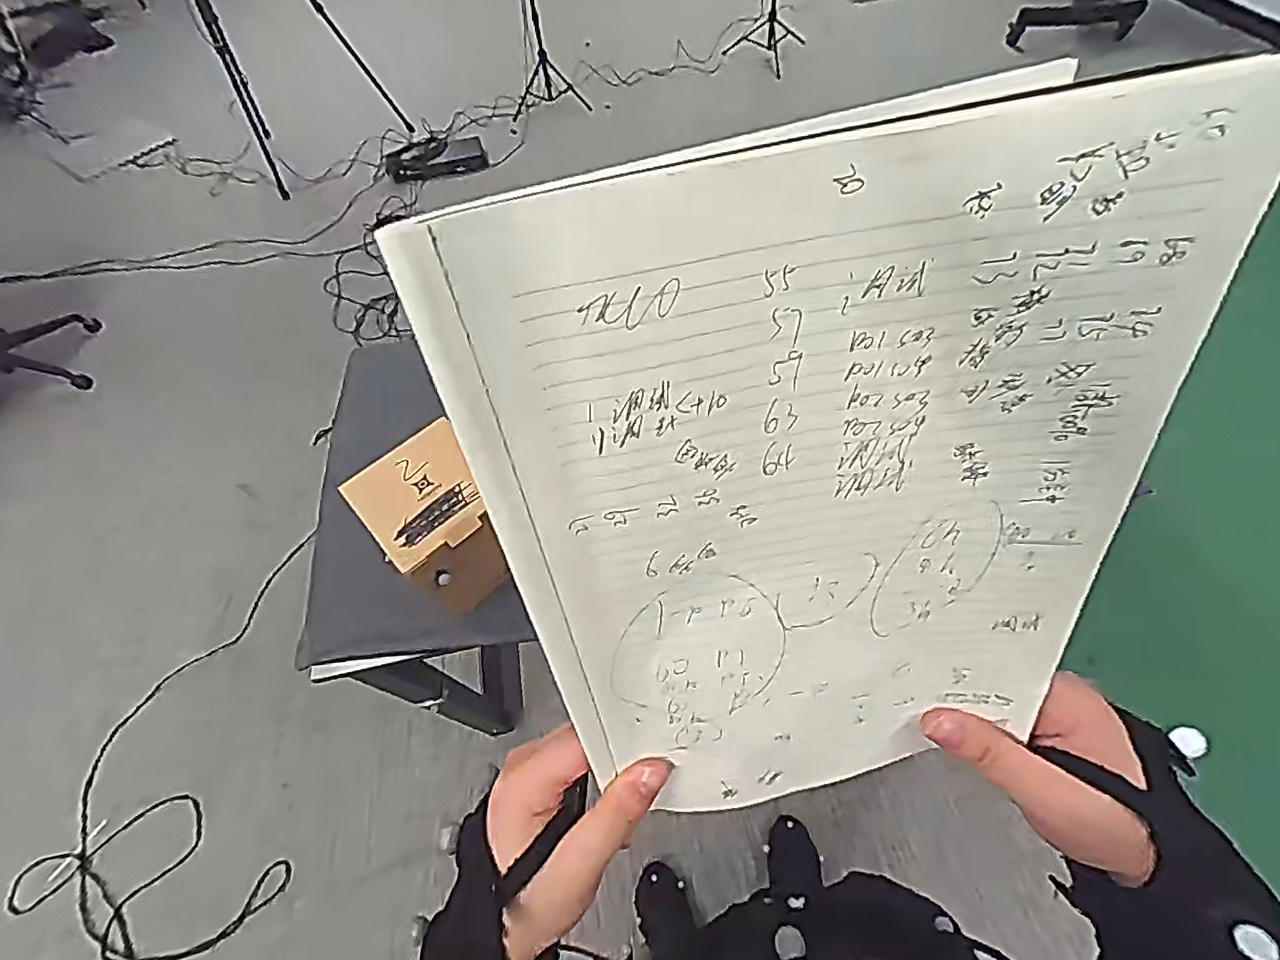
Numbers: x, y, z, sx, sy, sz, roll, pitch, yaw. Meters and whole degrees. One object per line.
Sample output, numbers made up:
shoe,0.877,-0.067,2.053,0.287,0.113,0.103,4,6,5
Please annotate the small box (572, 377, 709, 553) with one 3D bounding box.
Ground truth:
small box,0.001,-0.018,0.778,0.168,0.176,0.179,-10,56,1
